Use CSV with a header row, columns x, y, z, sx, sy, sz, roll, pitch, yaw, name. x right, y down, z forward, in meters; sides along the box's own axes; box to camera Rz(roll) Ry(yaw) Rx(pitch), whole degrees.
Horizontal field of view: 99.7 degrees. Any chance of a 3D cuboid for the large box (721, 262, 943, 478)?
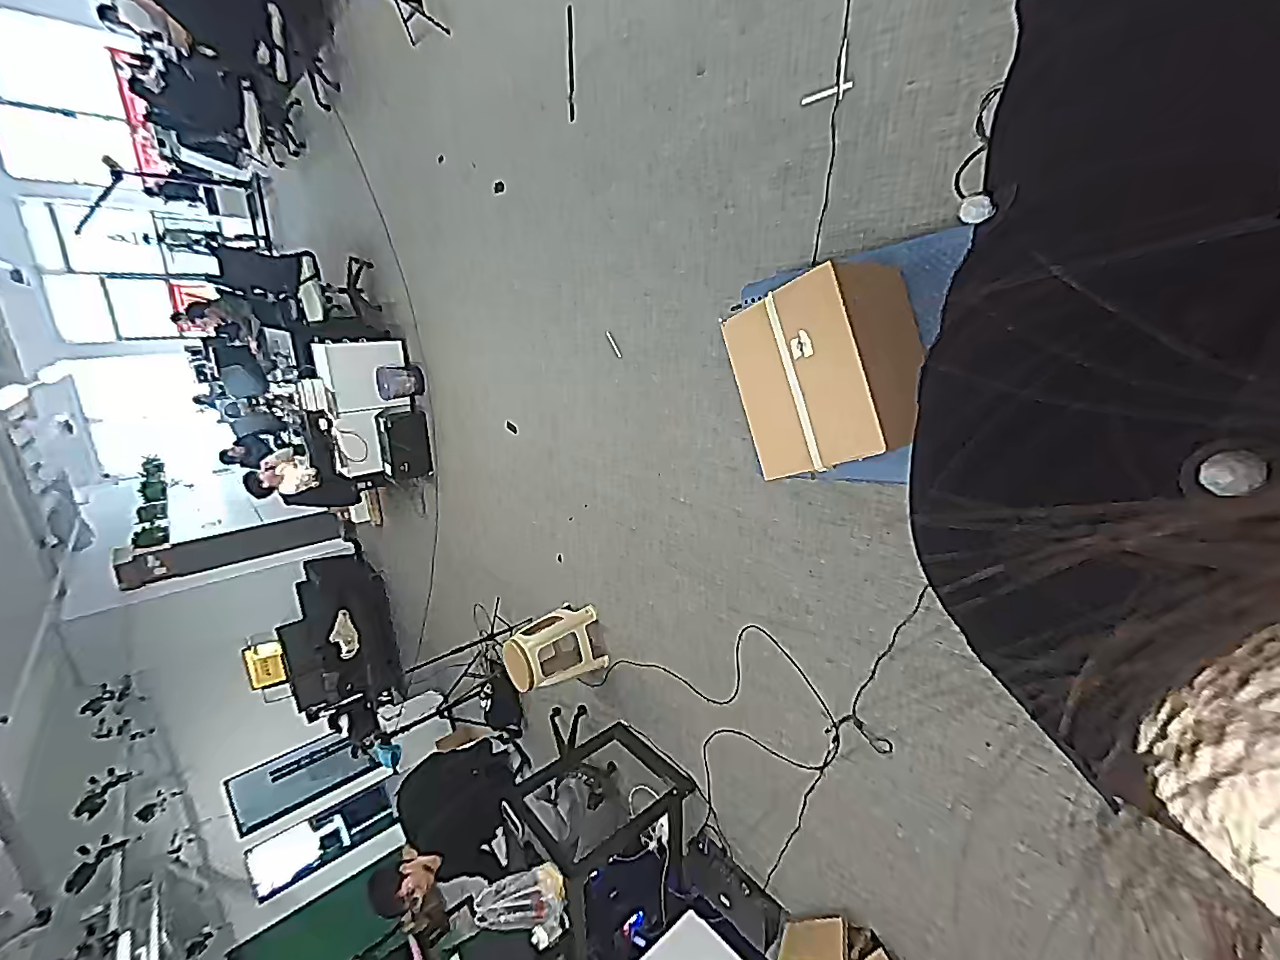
x,y,z,sx,sy,sz,roll,pitch,yaw,name
0.452,-0.249,1.286,0.320,0.320,0.408,-17,87,50,large box
